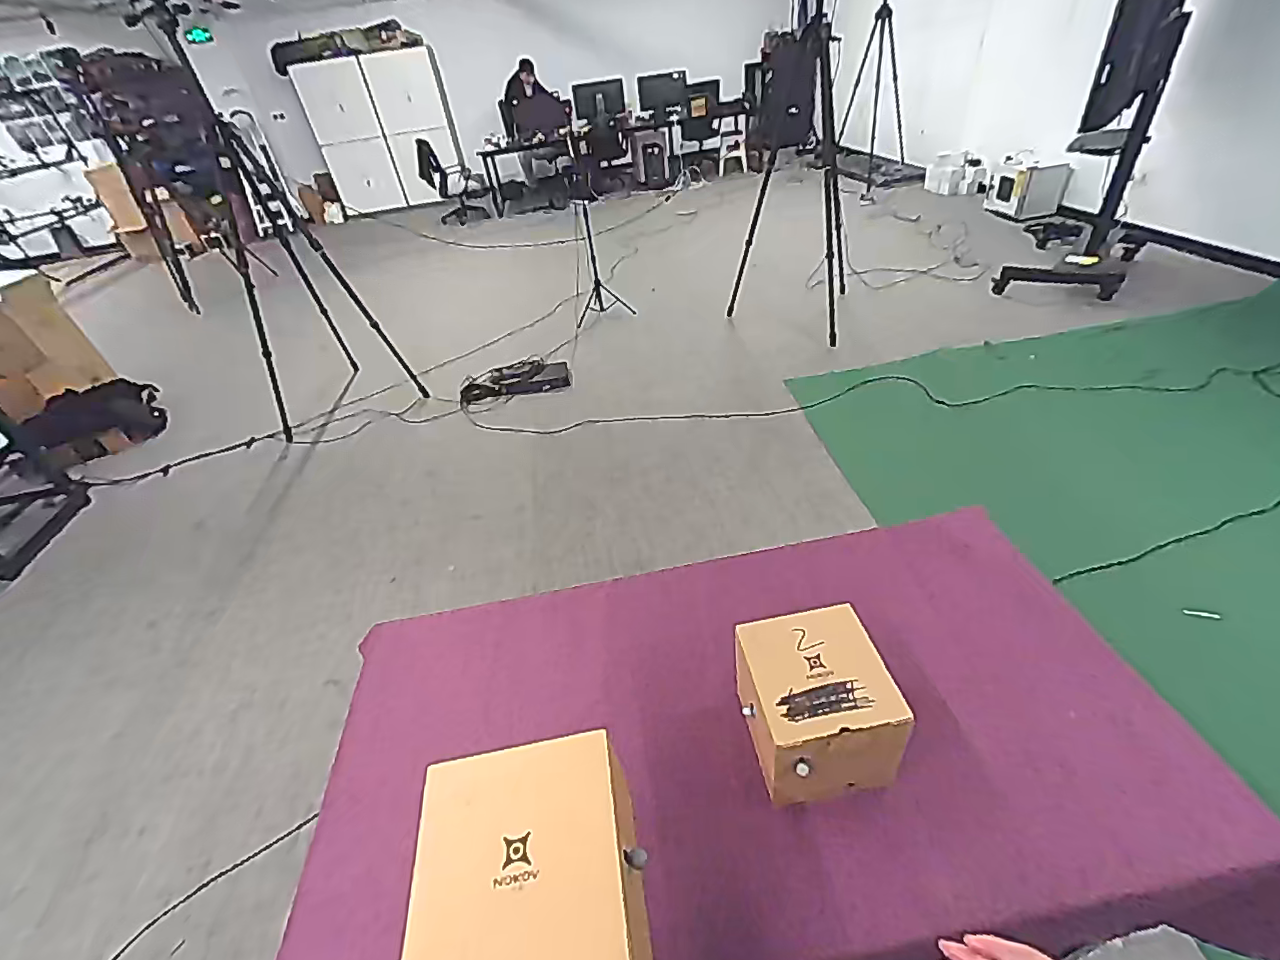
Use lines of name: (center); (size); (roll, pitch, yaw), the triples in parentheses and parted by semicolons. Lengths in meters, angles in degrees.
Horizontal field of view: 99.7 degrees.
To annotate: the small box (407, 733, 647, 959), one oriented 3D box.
small box: (-0.091, 0.366, 0.494); (0.168, 0.176, 0.179); (-11, 42, -2)
